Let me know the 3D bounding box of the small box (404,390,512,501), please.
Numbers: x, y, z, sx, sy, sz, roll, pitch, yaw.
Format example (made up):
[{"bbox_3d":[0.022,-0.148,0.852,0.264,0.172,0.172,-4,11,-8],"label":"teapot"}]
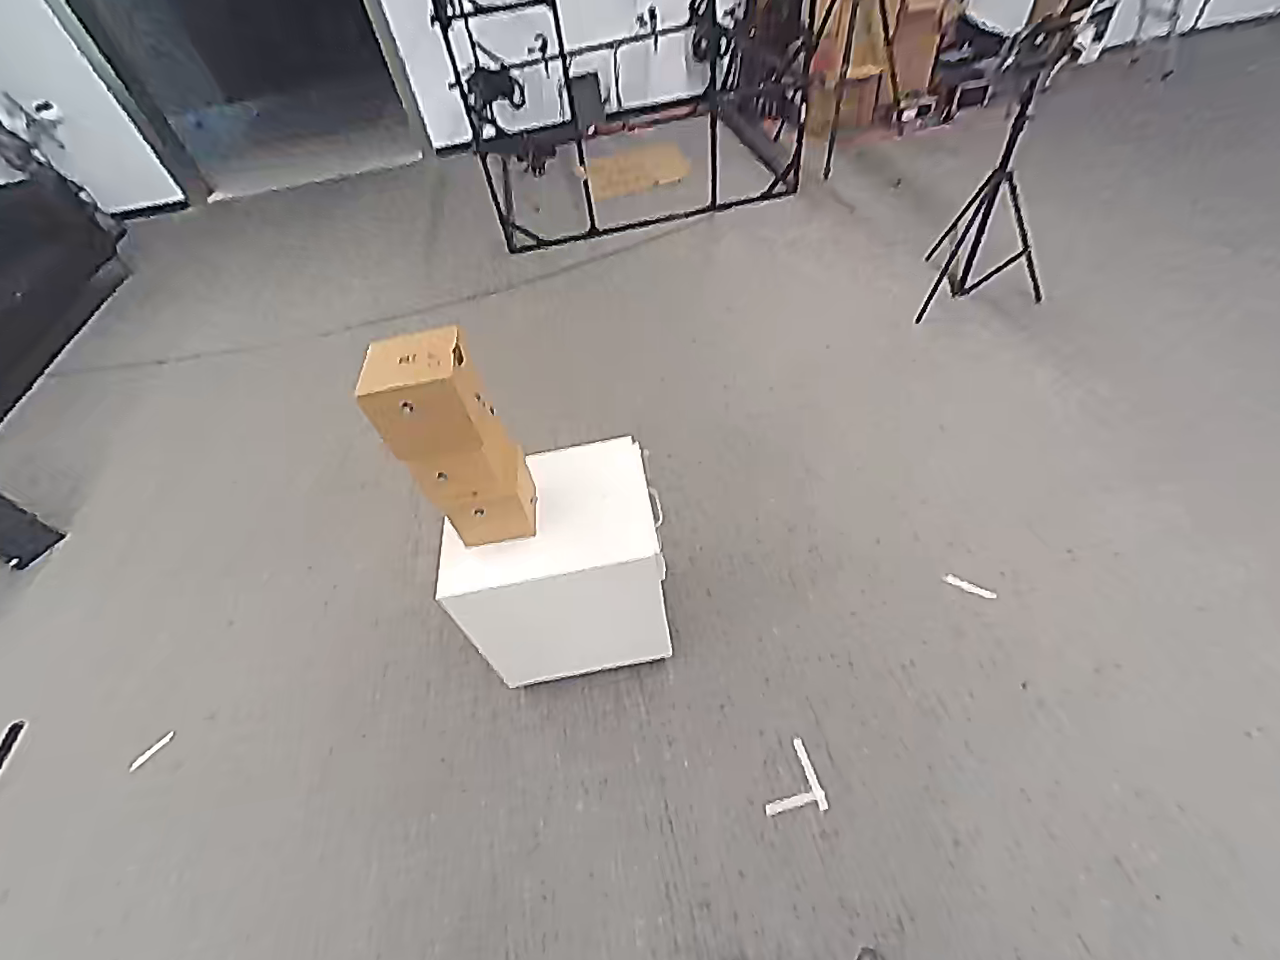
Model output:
[{"bbox_3d":[-0.384,-0.068,1.176,0.168,0.176,0.179,-8,48,2],"label":"small box"}]

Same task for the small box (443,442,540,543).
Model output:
[{"bbox_3d":[-0.348,0.034,1.297,0.179,0.176,0.168,-9,49,0],"label":"small box"}]

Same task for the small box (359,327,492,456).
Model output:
[{"bbox_3d":[-0.402,-0.166,1.043,0.179,0.176,0.168,-10,49,0],"label":"small box"}]
